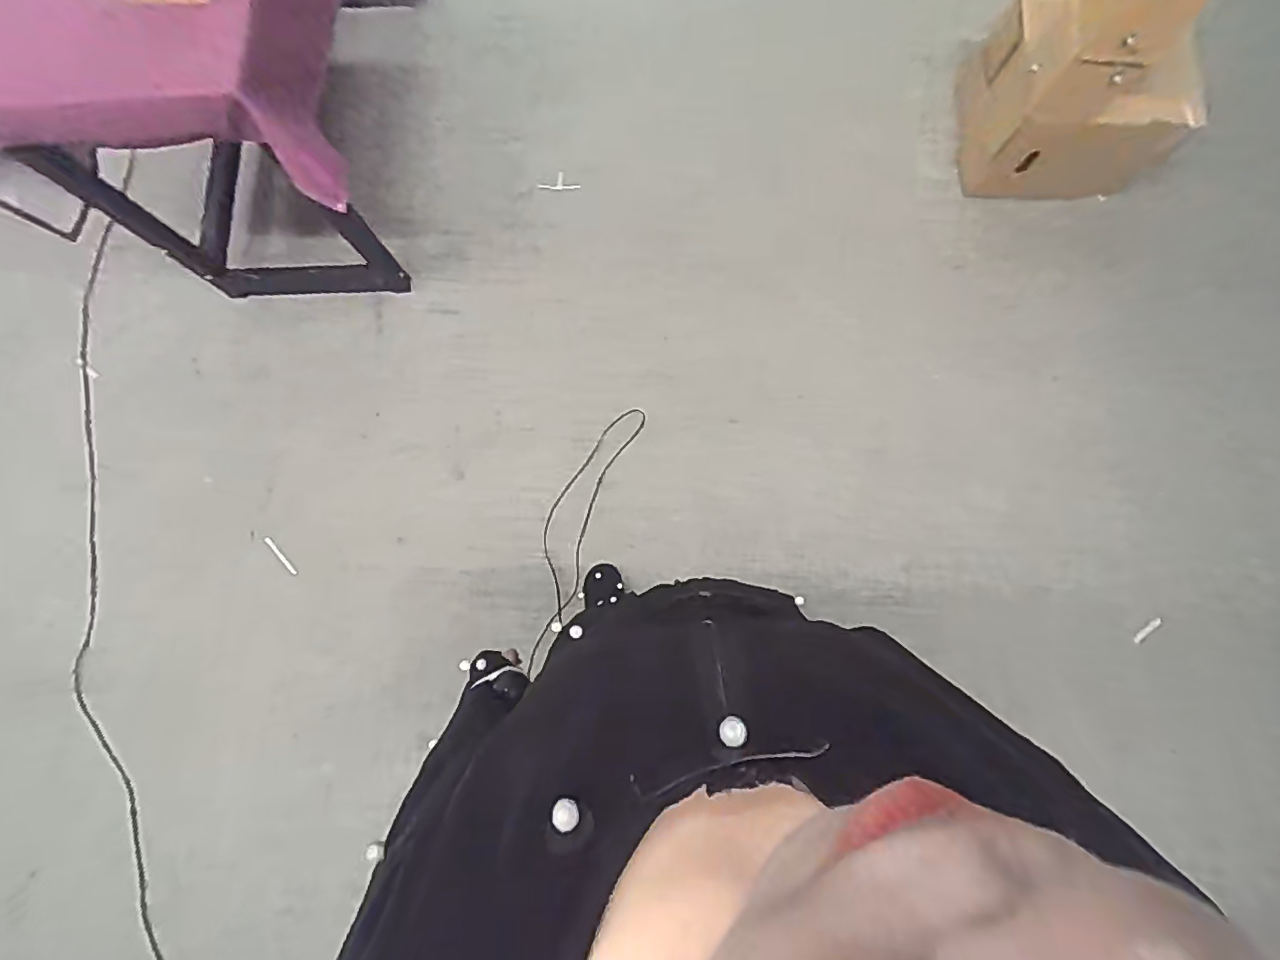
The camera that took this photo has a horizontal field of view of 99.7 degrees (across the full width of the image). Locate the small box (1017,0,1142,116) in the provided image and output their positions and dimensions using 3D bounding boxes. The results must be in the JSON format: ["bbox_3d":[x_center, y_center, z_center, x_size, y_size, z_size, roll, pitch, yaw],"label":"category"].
[{"bbox_3d":[1.070,-1.033,1.328,0.179,0.176,0.168,4,80,1],"label":"small box"}]

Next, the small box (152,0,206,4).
[{"bbox_3d":[-0.868,-0.974,0.933,0.168,0.176,0.179,3,79,1],"label":"small box"}]

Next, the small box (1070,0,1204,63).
[{"bbox_3d":[1.072,-1.057,1.166,0.168,0.176,0.179,5,82,1],"label":"small box"}]
